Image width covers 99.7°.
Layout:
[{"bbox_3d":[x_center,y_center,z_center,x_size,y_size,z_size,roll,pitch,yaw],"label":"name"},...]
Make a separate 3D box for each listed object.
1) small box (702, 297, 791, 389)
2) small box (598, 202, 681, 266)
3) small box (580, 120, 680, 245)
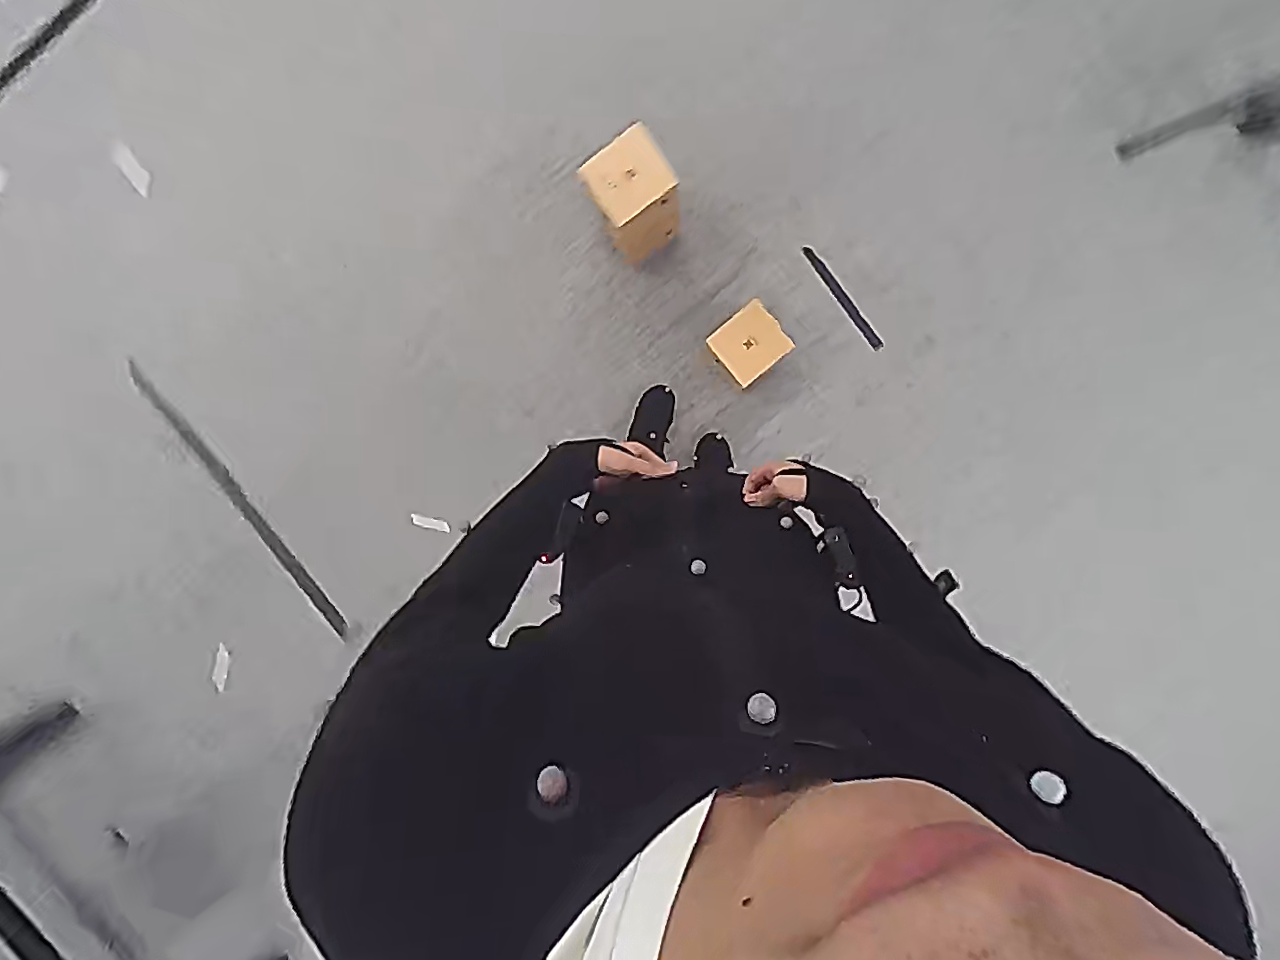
[{"bbox_3d":[0.285,-0.369,1.494,0.179,0.176,0.168,-39,93,5],"label":"small box"},{"bbox_3d":[-0.007,-0.719,1.469,0.179,0.176,0.168,-34,93,5],"label":"small box"},{"bbox_3d":[-0.021,-0.707,1.306,0.179,0.176,0.168,-34,92,6],"label":"small box"}]
